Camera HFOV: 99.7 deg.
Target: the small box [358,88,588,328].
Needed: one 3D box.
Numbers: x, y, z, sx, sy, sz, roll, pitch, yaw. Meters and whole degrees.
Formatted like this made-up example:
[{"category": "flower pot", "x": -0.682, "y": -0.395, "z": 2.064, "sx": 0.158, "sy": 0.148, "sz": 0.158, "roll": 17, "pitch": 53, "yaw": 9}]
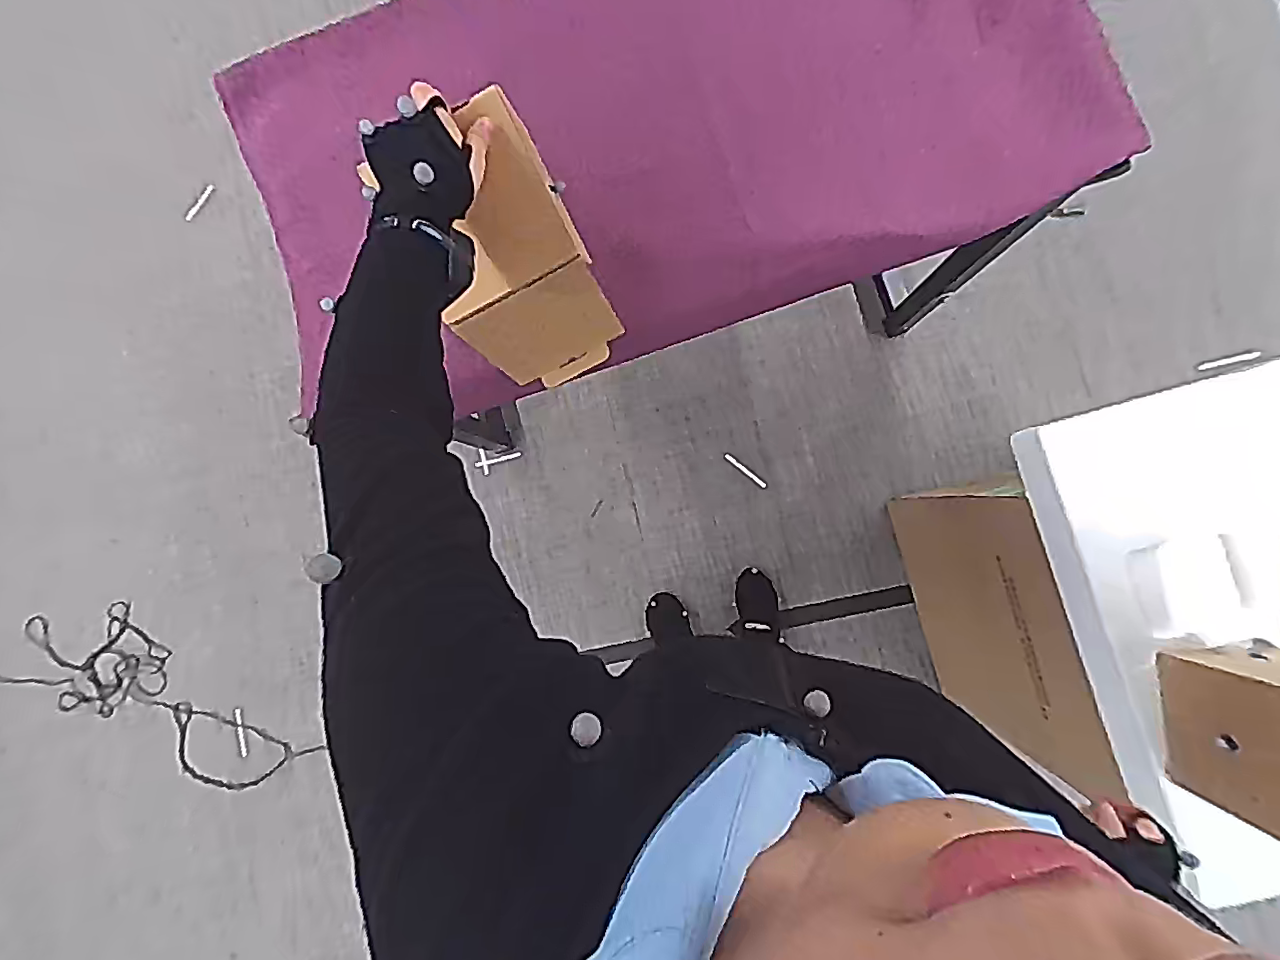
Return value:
[{"category": "small box", "x": -0.172, "y": -0.296, "z": 0.627, "sx": 0.168, "sy": 0.176, "sz": 0.179, "roll": -26, "pitch": 106, "yaw": 7}]
